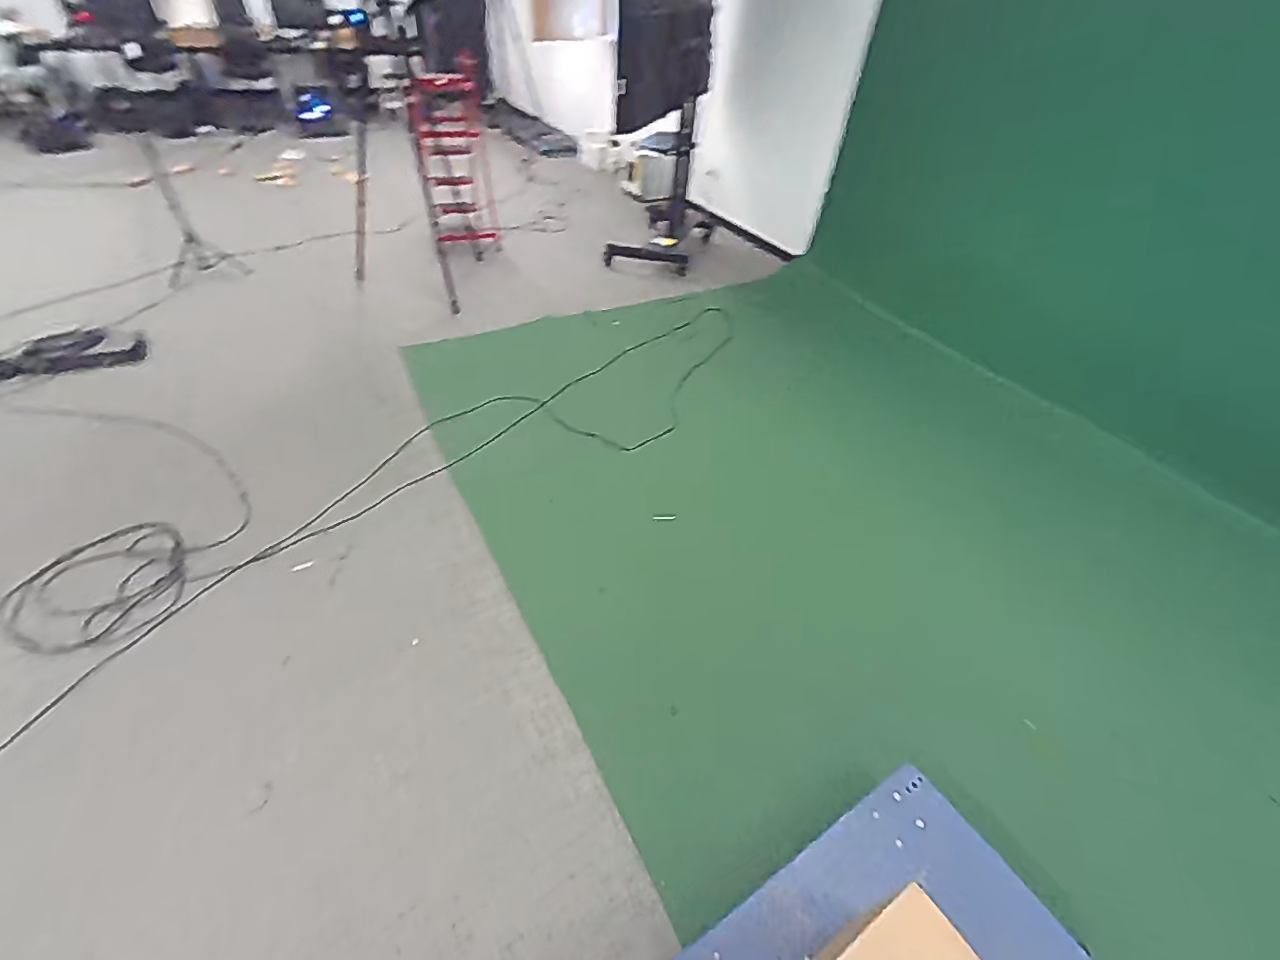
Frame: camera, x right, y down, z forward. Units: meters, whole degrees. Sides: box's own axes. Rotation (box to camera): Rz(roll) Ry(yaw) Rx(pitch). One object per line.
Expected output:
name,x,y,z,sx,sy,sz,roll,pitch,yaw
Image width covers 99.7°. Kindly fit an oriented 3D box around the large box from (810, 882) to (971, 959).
large box,0.397,1.004,0.917,0.408,0.320,0.320,-20,48,-26
